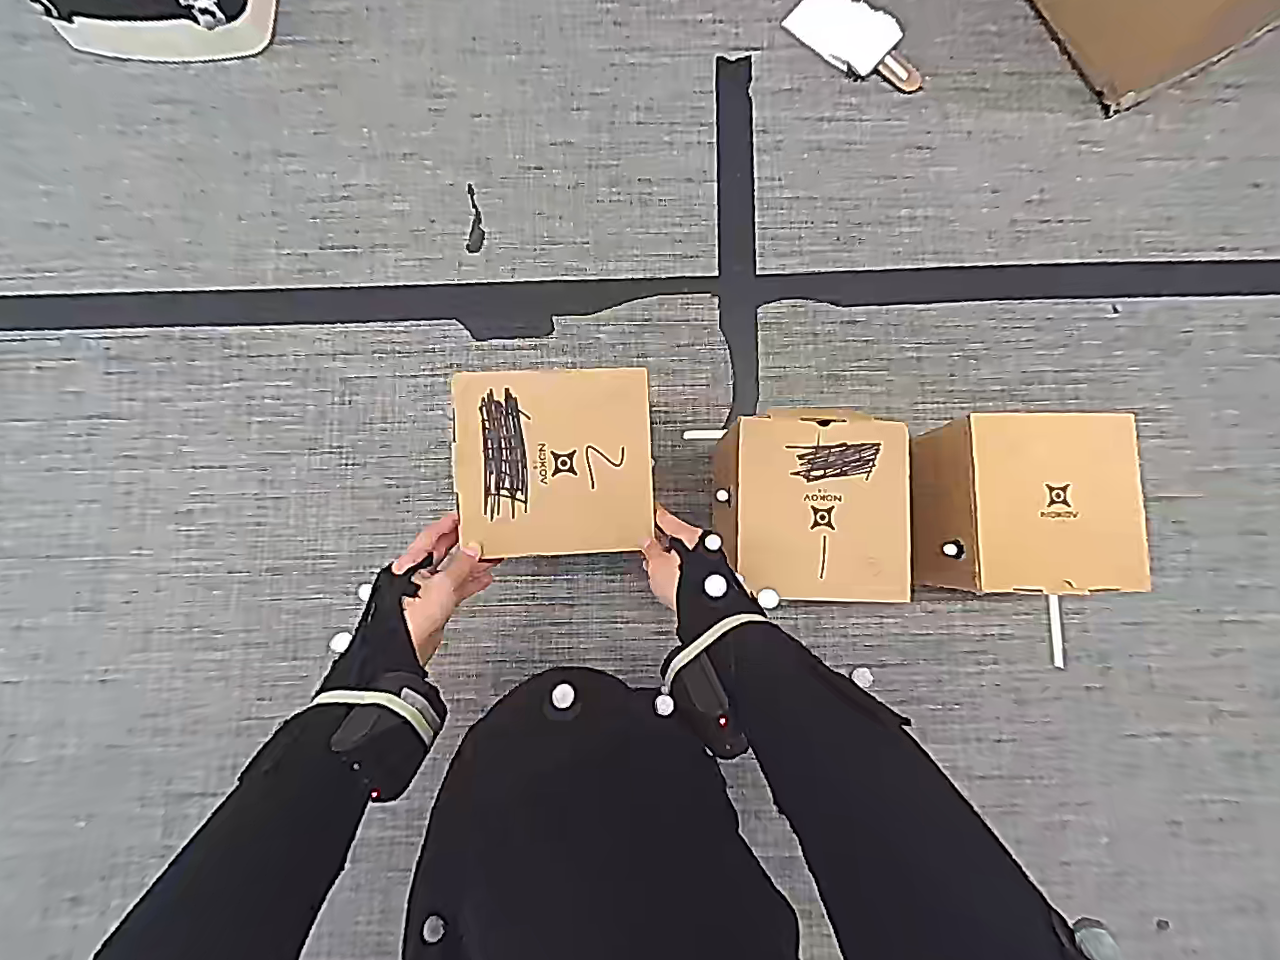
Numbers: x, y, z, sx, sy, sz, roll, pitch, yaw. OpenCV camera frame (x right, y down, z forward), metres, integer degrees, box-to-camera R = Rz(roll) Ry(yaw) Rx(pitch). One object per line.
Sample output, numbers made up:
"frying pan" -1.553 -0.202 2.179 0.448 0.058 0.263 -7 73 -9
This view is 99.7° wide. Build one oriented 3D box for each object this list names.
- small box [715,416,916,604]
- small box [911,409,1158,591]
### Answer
"small box" 0.175 0.036 0.589 0.168 0.176 0.179 1 84 0
"small box" 0.402 0.028 0.595 0.168 0.176 0.179 -1 83 -1
